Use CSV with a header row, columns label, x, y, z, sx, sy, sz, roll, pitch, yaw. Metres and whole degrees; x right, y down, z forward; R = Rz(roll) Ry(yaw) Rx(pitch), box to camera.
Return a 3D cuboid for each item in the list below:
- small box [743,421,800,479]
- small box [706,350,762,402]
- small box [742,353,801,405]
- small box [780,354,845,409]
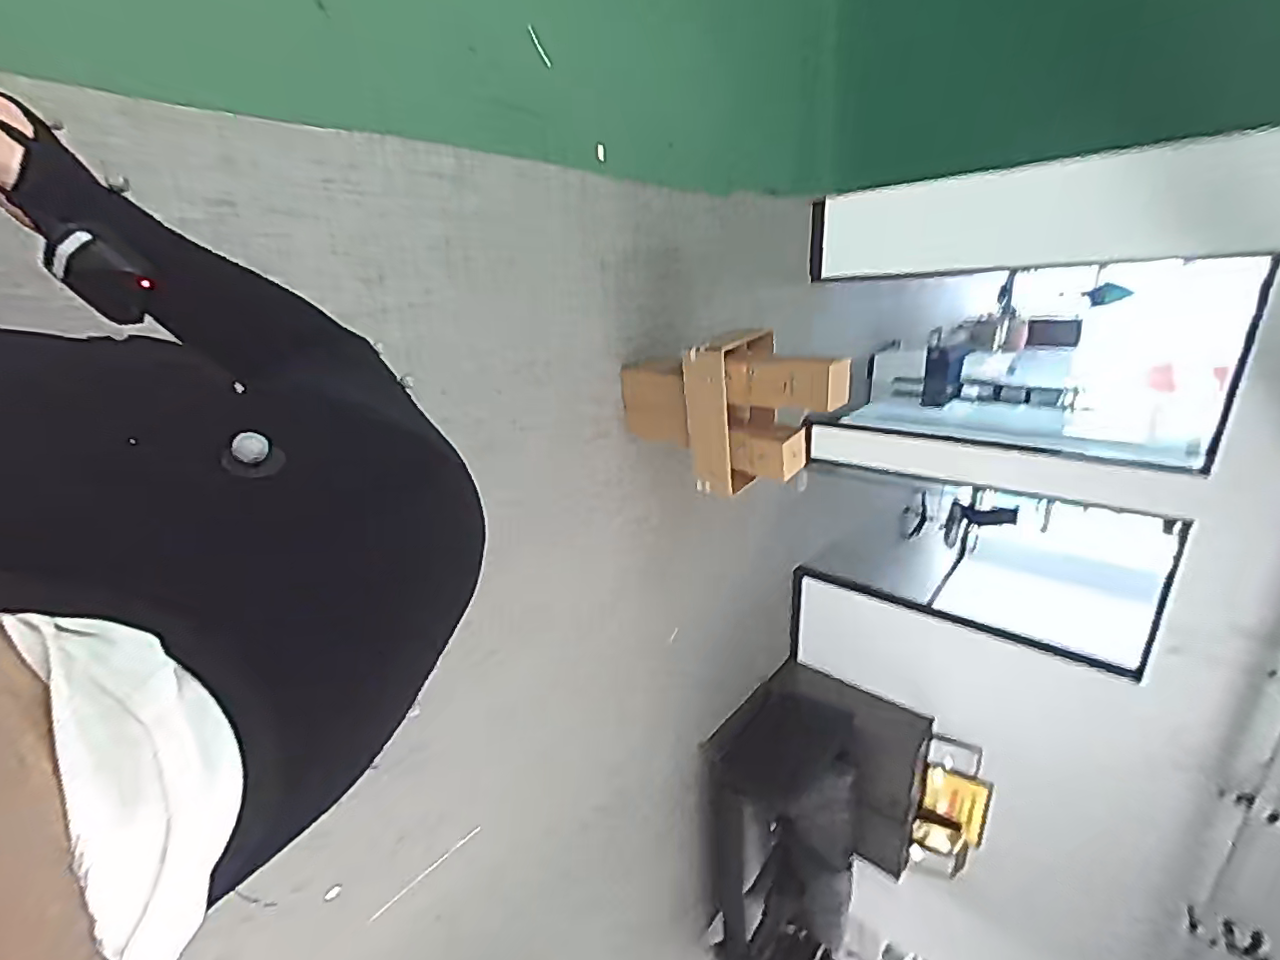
label,x,y,z,sx,sy,sz,roll,pitch,yaw
small box,0.523,-0.125,2.167,0.179,0.176,0.168,-33,126,-39
small box,0.375,-0.420,2.164,0.179,0.176,0.168,-31,123,-41
small box,0.499,-0.388,2.061,0.179,0.176,0.168,-27,121,-44
small box,0.625,-0.361,1.960,0.179,0.176,0.168,-24,119,-44
